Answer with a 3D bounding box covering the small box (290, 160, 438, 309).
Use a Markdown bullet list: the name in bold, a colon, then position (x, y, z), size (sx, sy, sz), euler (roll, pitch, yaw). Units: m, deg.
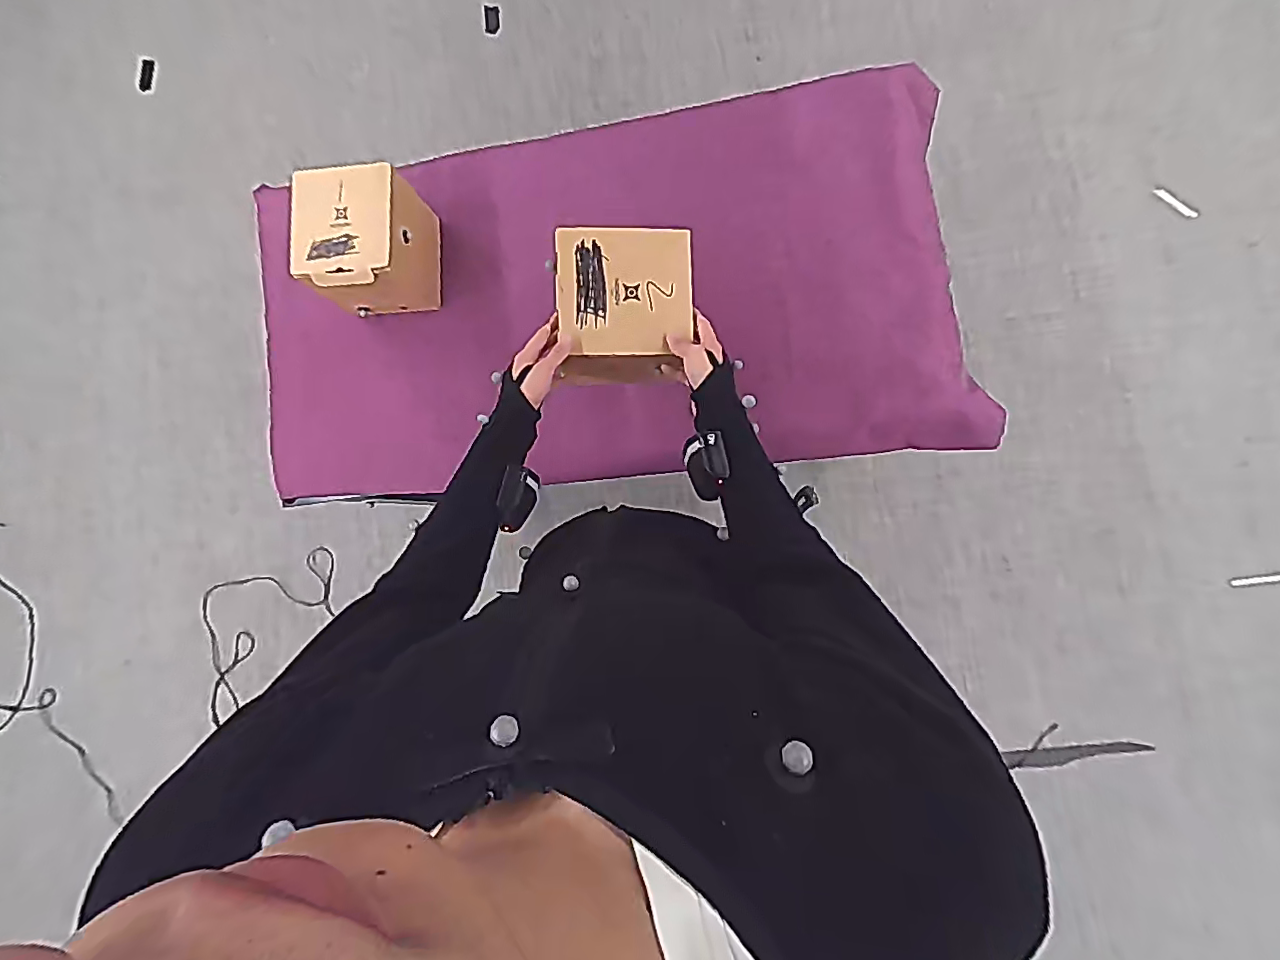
- **small box**: position (-0.456, -0.400, 0.915), size (0.168, 0.176, 0.179), euler (-2, 86, 5)
